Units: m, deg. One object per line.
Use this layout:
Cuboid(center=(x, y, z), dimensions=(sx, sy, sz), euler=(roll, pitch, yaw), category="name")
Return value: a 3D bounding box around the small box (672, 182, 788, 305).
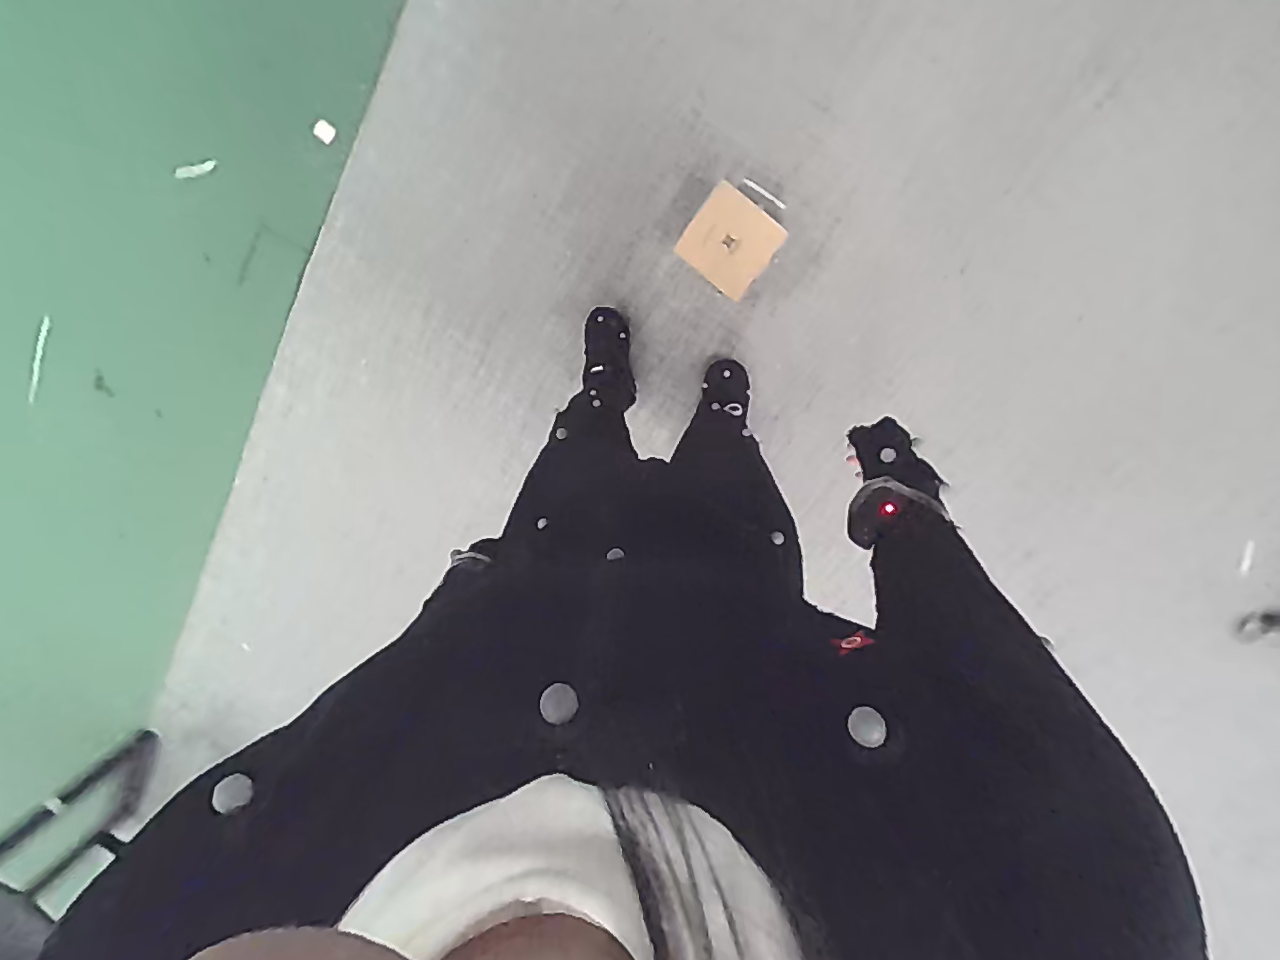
Cuboid(center=(0.193, -0.500, 1.164), dimensions=(0.179, 0.176, 0.168), euler=(38, 109, -3), category="small box")
